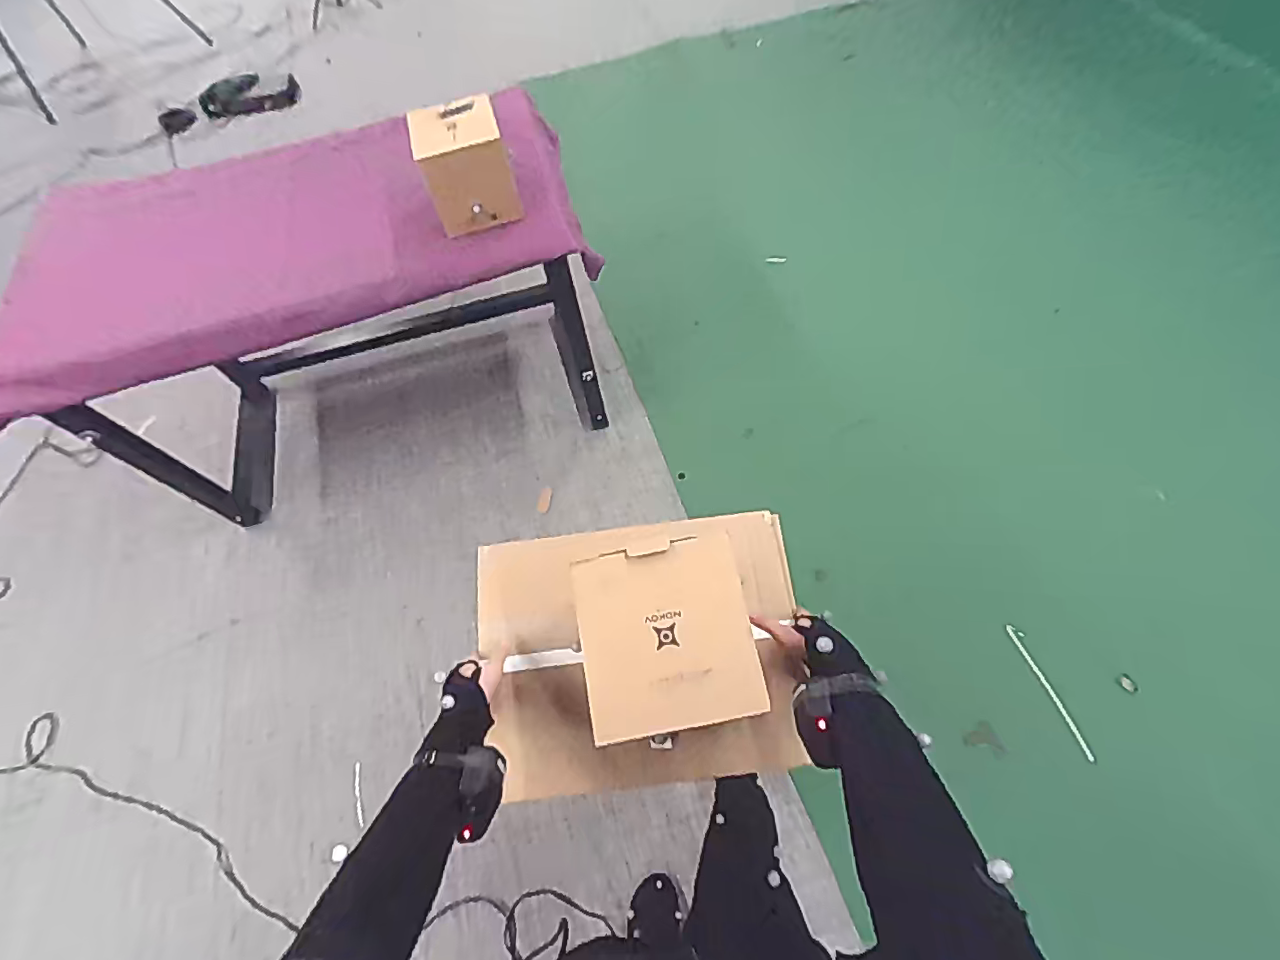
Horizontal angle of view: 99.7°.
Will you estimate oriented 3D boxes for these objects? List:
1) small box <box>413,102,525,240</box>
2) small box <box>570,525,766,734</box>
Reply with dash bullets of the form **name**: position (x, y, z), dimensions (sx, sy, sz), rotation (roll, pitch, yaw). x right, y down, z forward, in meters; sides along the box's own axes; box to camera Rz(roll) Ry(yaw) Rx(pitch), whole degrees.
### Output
- **small box**: position (-0.348, -0.630, 1.112), dimensions (0.168, 0.176, 0.179), rotation (-17, 60, -4)
- **small box**: position (0.024, 0.165, 0.595), dimensions (0.168, 0.176, 0.179), rotation (-10, 71, -1)
